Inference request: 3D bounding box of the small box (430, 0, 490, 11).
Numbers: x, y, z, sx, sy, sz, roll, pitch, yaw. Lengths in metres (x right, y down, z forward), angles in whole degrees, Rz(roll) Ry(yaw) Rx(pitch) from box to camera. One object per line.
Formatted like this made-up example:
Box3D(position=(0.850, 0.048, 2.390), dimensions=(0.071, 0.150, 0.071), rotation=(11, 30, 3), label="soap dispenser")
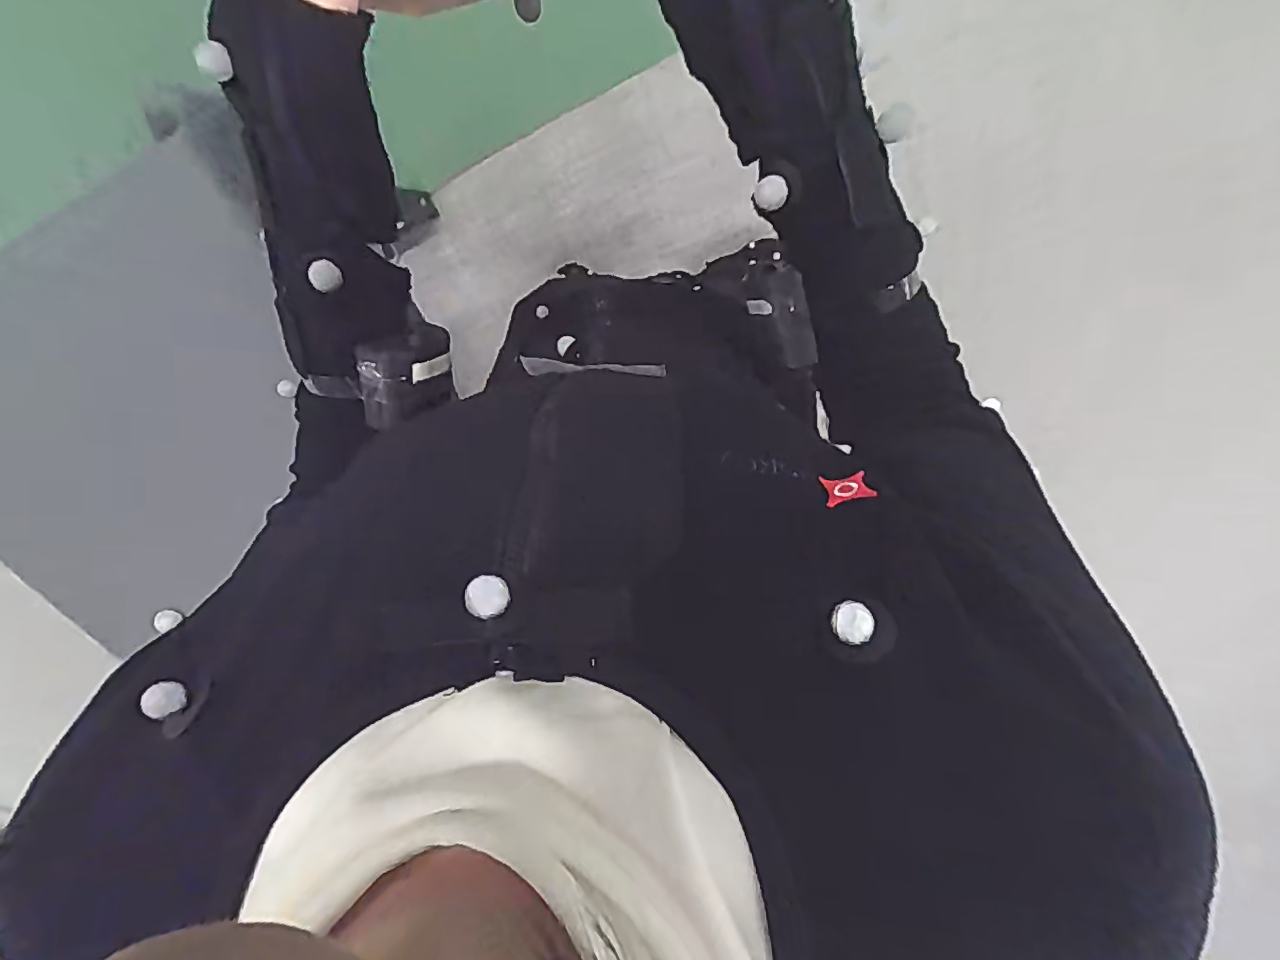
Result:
Box3D(position=(-0.074, -0.335, 0.228), dimensions=(0.168, 0.176, 0.179), rotation=(-10, 127, 8), label="small box")
